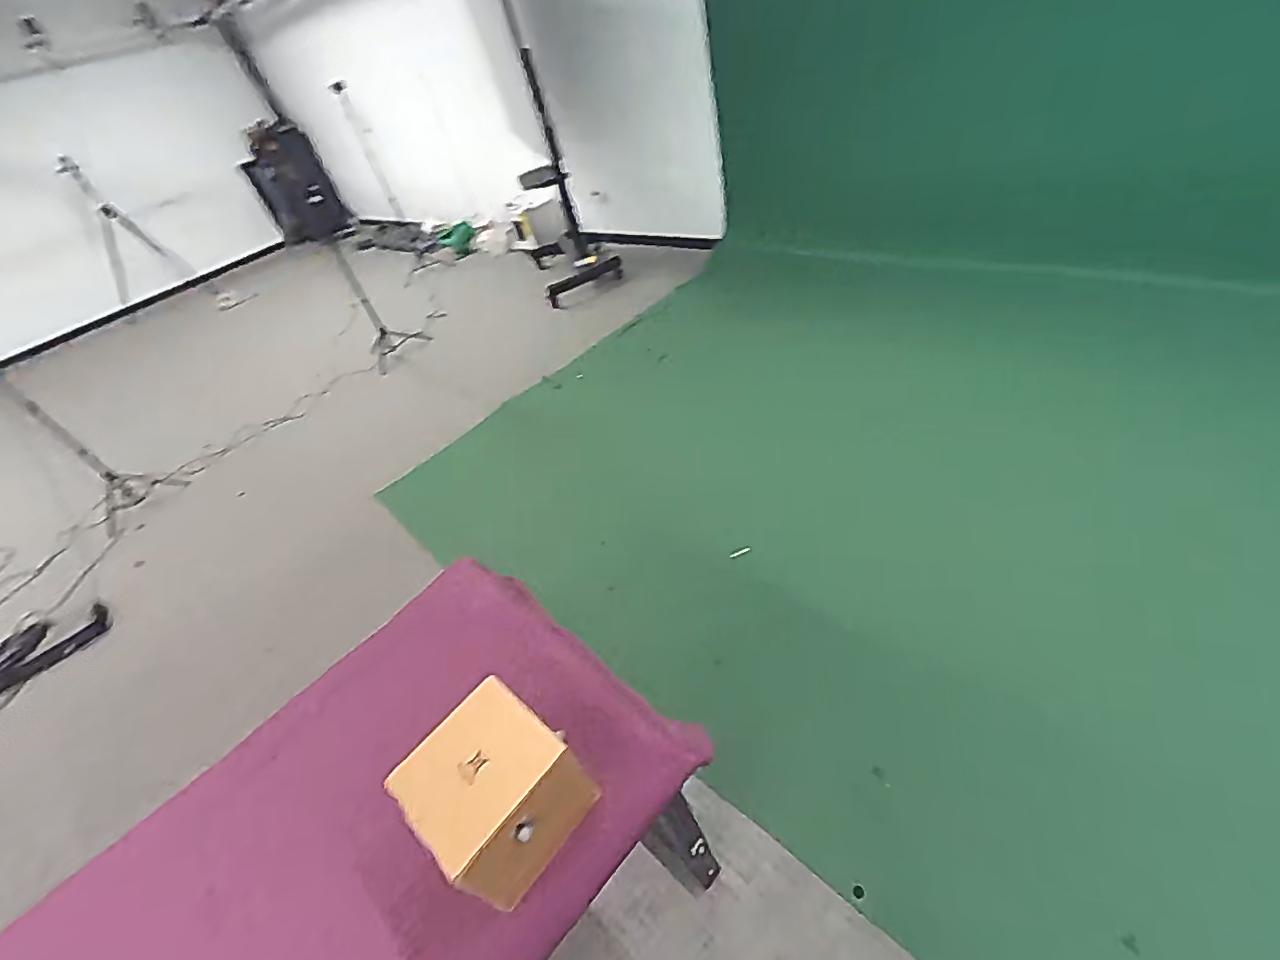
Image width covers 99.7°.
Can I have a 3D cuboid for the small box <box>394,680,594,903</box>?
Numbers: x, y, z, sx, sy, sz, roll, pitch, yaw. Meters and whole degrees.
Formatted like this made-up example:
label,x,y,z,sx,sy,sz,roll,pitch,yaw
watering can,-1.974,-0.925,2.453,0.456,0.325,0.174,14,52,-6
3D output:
label,x,y,z,sx,sy,sz,roll,pitch,yaw
small box,-0.181,0.414,0.726,0.168,0.176,0.179,24,57,37
